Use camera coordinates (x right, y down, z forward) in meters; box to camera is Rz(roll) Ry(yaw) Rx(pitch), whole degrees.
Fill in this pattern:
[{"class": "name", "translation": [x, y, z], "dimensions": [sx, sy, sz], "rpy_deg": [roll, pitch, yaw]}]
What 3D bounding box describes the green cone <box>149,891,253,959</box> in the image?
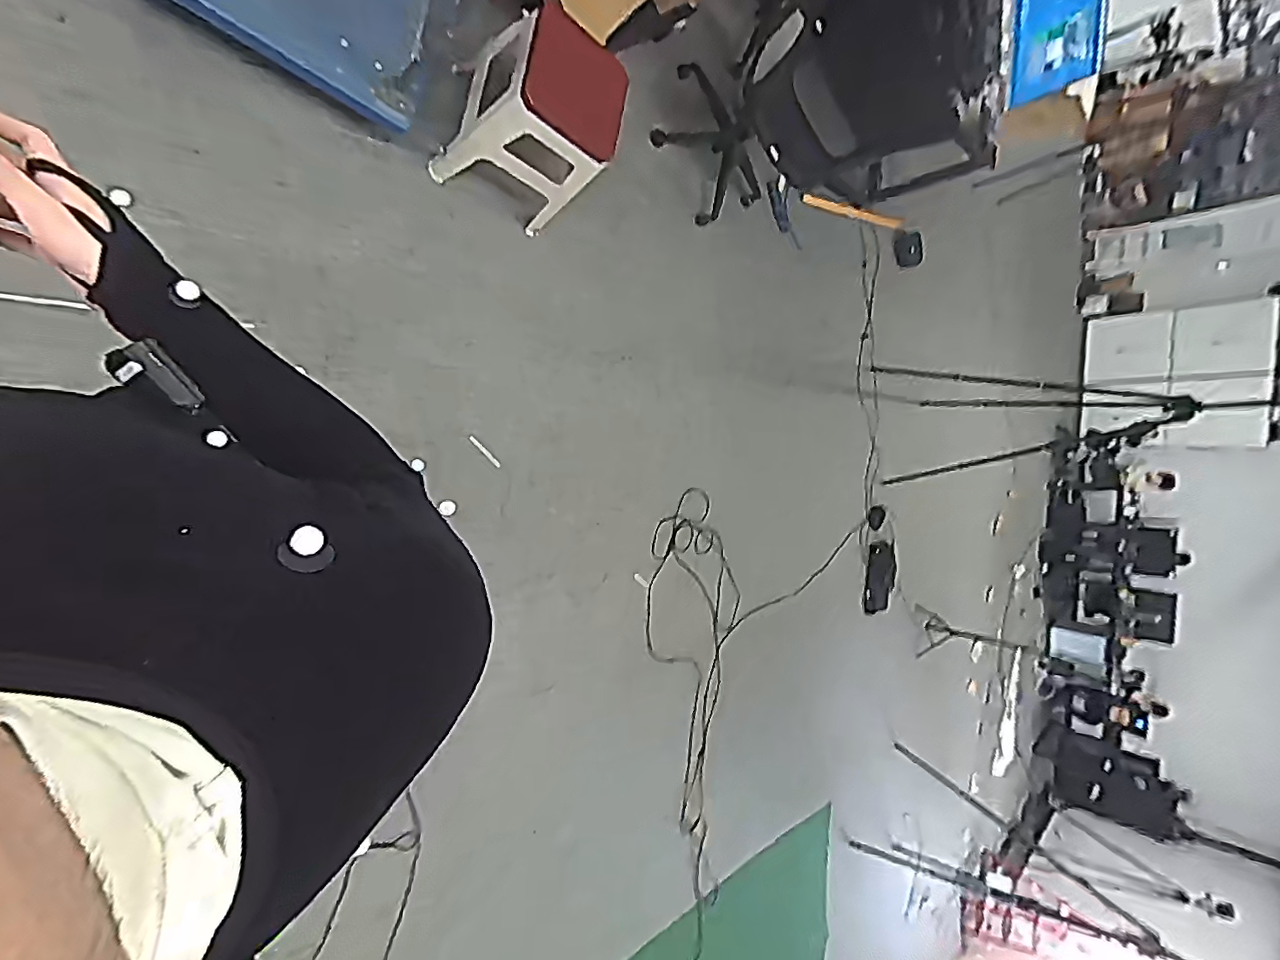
[{"class": "green cone", "translation": [-0.982, 1.185, 1.236], "dimensions": [0.202, 0.368, 0.200], "rpy_deg": [-3, 96, -43]}]
